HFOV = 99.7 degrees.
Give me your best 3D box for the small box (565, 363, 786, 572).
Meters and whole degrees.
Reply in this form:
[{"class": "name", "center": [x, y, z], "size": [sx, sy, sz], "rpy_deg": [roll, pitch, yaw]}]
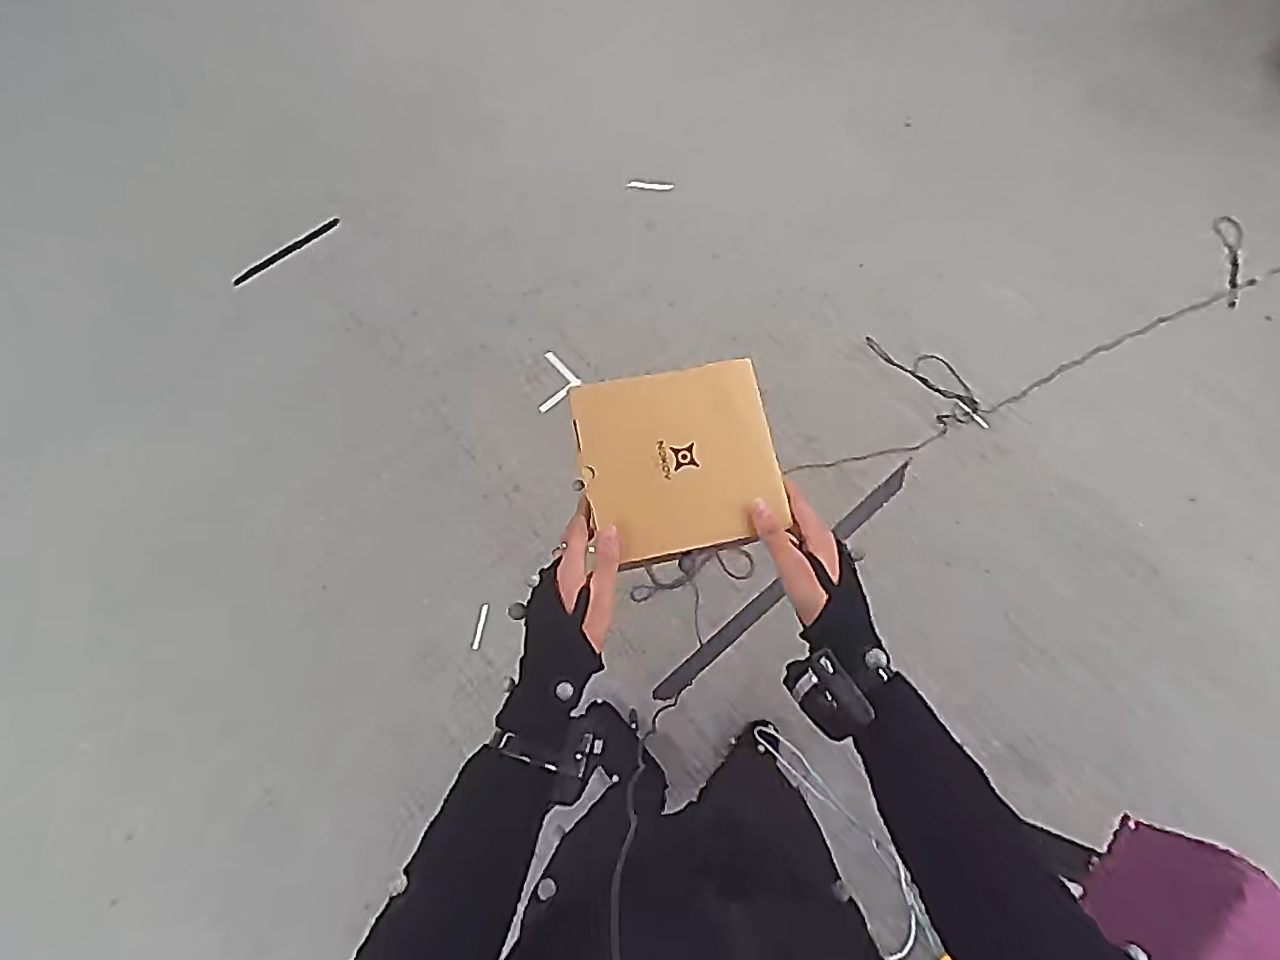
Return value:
[{"class": "small box", "center": [0.025, -0.002, 0.562], "size": [0.179, 0.176, 0.168], "rpy_deg": [-12, 80, -6]}]
